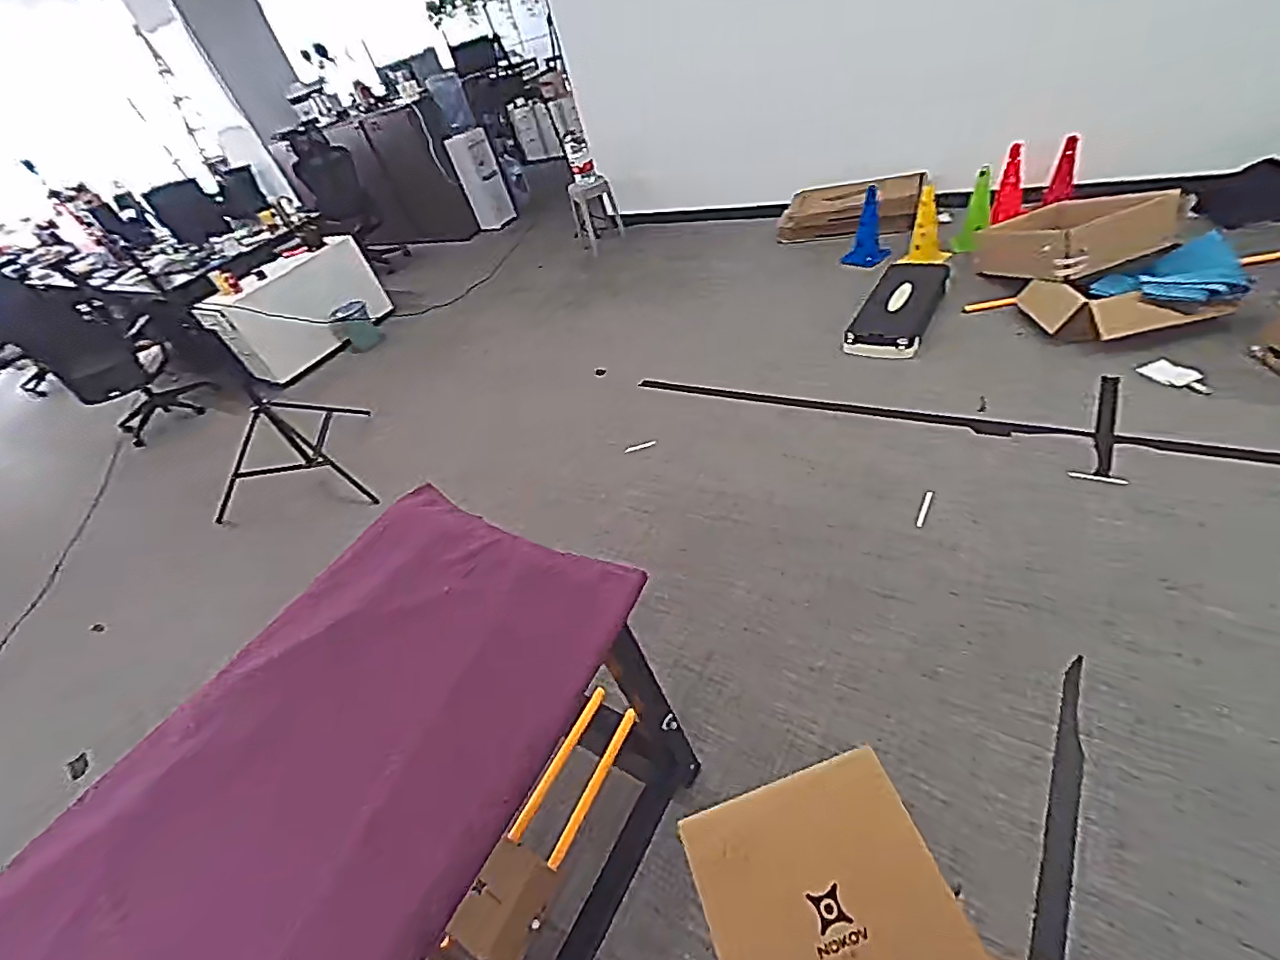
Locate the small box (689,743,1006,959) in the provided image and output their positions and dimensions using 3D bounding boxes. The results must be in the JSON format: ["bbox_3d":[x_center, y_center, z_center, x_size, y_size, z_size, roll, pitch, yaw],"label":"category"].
[{"bbox_3d":[0.148,0.340,0.417,0.168,0.176,0.179,-20,48,-4],"label":"small box"}]

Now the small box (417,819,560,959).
[{"bbox_3d":[-0.289,0.812,1.063,0.179,0.176,0.168,14,53,28],"label":"small box"}]
